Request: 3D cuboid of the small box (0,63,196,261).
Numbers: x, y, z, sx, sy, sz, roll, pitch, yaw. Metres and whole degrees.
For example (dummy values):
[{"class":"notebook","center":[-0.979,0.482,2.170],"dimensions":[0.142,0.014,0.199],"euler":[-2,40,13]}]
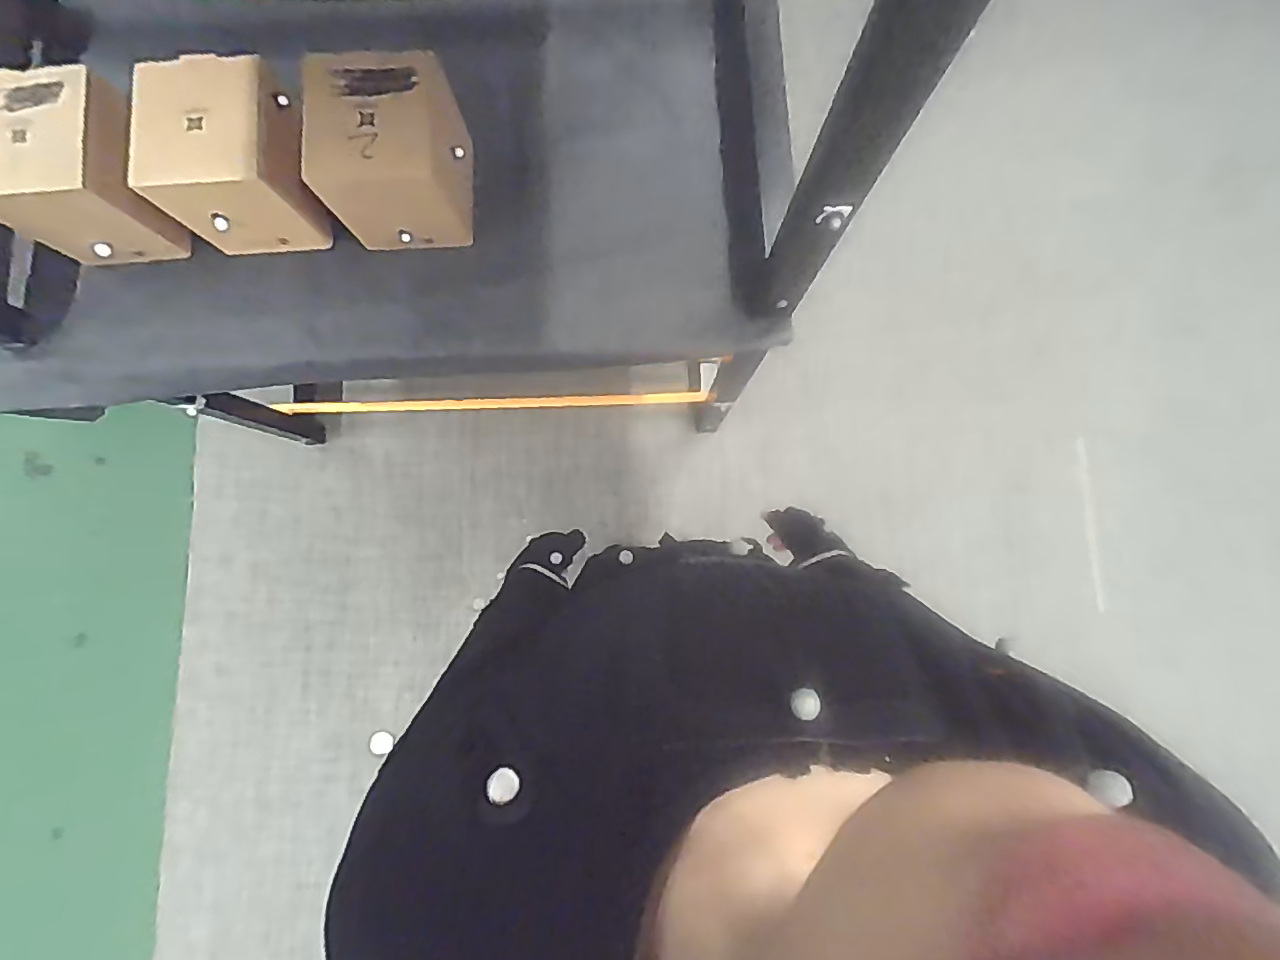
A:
[{"class":"small box","center":[-0.776,-0.438,0.766],"dimensions":[0.168,0.176,0.179],"euler":[-4,84,0]}]
